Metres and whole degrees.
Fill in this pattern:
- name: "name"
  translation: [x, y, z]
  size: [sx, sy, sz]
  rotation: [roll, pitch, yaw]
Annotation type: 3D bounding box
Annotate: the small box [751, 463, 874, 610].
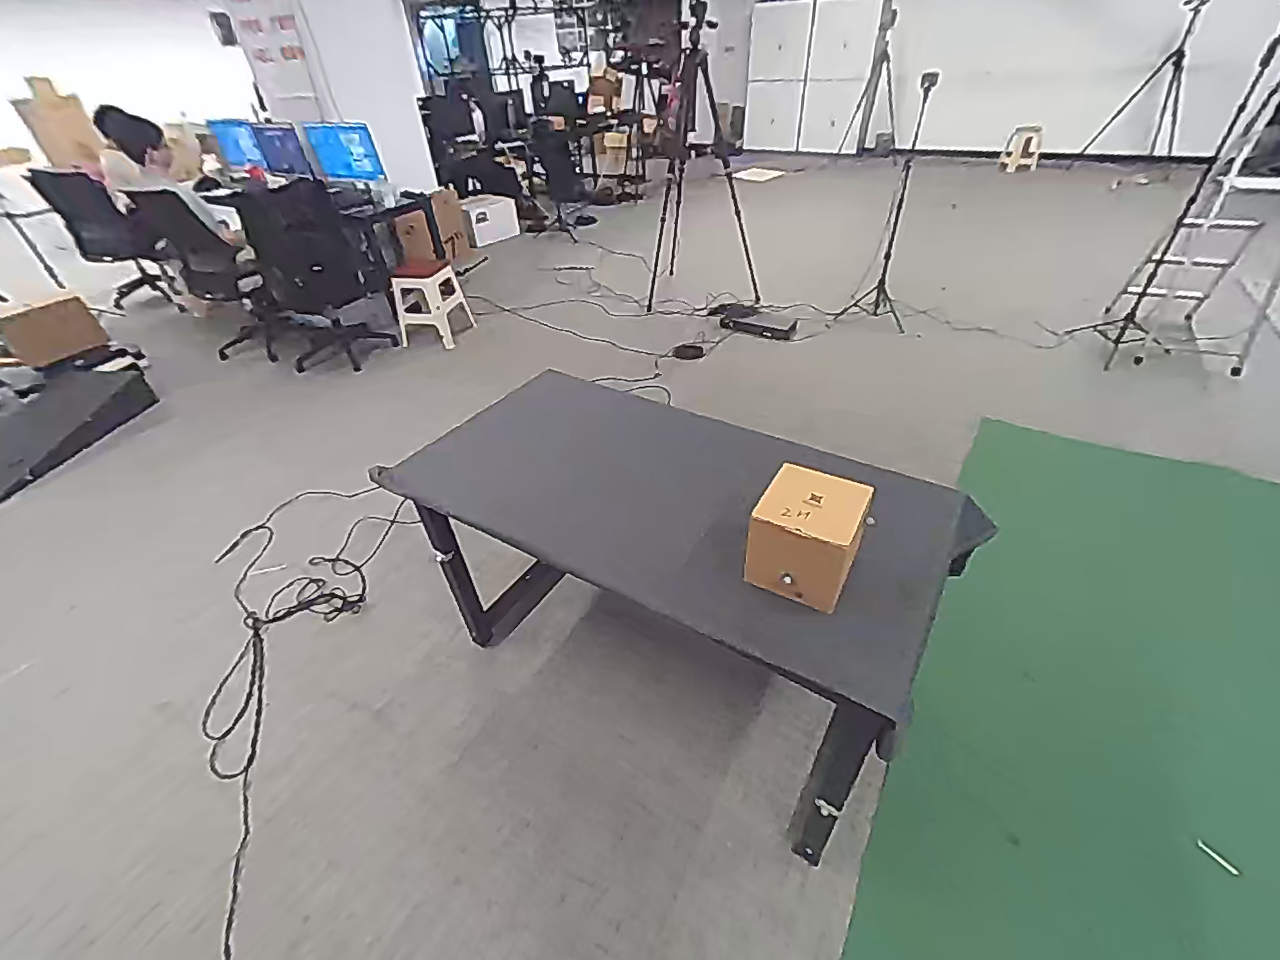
- name: "small box"
  translation: [0.308, 0.100, 0.987]
  size: [0.168, 0.176, 0.179]
  rotation: [18, 43, 27]
